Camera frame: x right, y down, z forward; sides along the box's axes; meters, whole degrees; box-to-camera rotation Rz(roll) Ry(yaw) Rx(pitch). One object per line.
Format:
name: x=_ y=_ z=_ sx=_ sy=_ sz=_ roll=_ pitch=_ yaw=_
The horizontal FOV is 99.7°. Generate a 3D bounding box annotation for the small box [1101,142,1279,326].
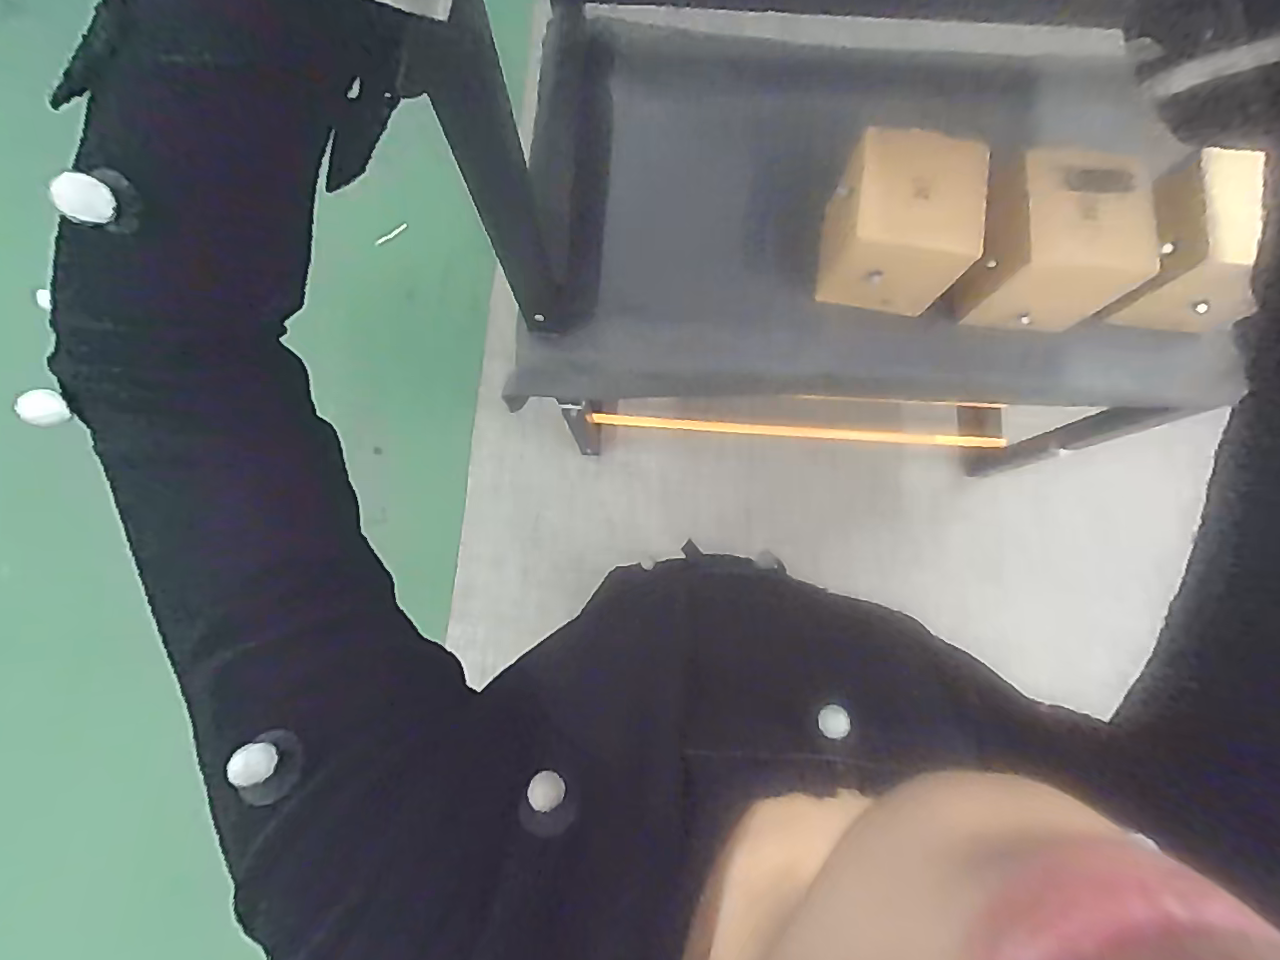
small box: x=0.816 y=-0.342 z=0.782 sx=0.168 sy=0.176 sz=0.179 roll=7 pitch=78 yaw=1

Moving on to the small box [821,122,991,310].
small box: x=0.376 y=-0.373 z=0.792 sx=0.168 sy=0.176 sz=0.179 roll=10 pitch=79 yaw=2
